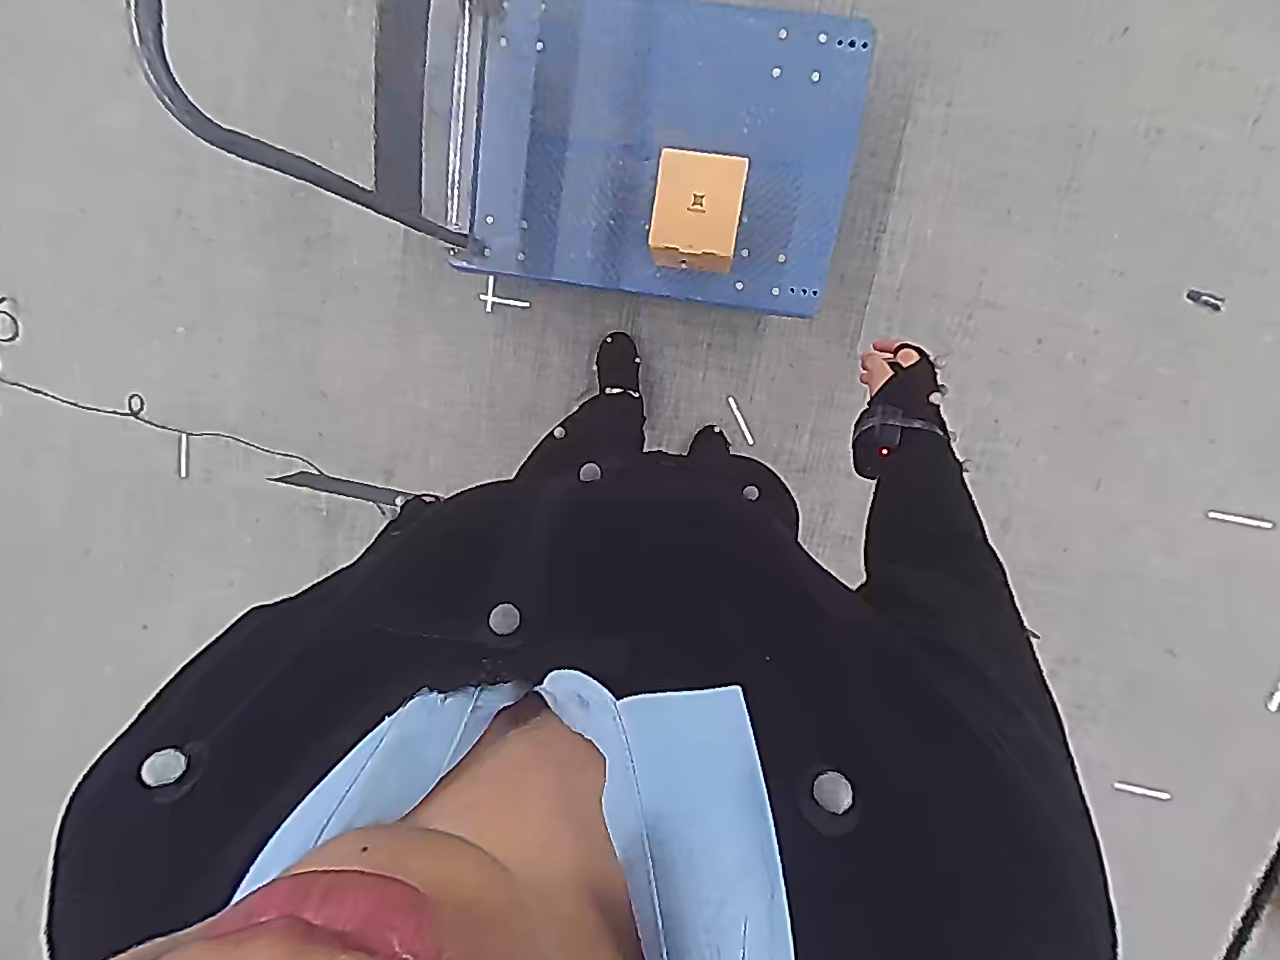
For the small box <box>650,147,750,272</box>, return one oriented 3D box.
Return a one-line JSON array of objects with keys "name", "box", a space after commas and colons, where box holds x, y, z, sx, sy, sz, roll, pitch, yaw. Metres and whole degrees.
[{"name": "small box", "box": [0.117, -0.537, 1.095, 0.168, 0.176, 0.179, 9, 102, 4]}]
